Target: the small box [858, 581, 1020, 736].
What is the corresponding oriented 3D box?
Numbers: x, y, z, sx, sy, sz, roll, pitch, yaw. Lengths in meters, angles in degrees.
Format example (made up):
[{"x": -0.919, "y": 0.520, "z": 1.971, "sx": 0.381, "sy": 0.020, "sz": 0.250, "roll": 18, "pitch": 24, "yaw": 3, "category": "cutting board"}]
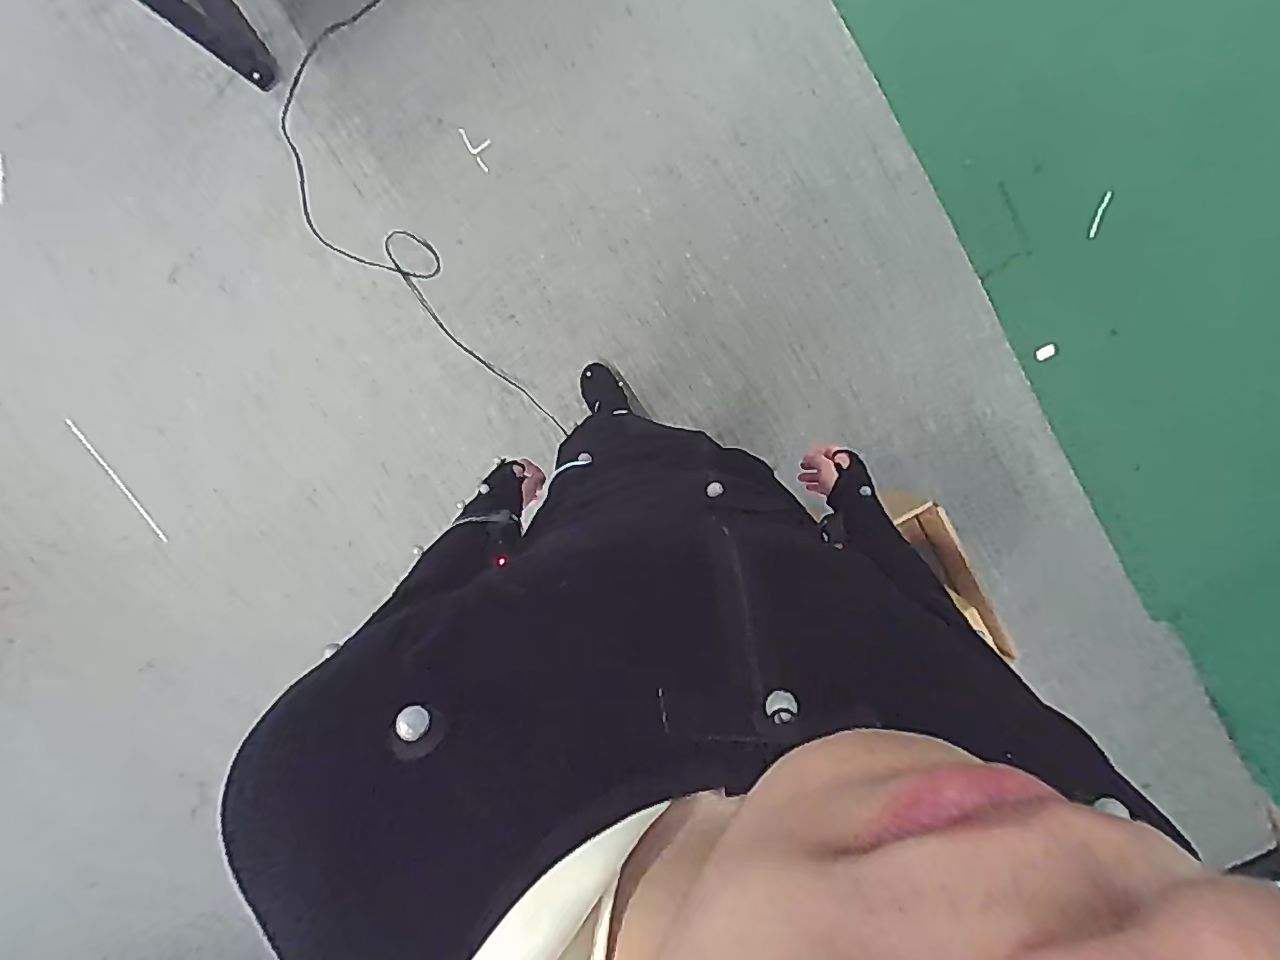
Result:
[{"x": 0.532, "y": 0.315, "z": 0.986, "sx": 0.168, "sy": 0.176, "sz": 0.179, "roll": -30, "pitch": 97, "yaw": 7, "category": "small box"}]
